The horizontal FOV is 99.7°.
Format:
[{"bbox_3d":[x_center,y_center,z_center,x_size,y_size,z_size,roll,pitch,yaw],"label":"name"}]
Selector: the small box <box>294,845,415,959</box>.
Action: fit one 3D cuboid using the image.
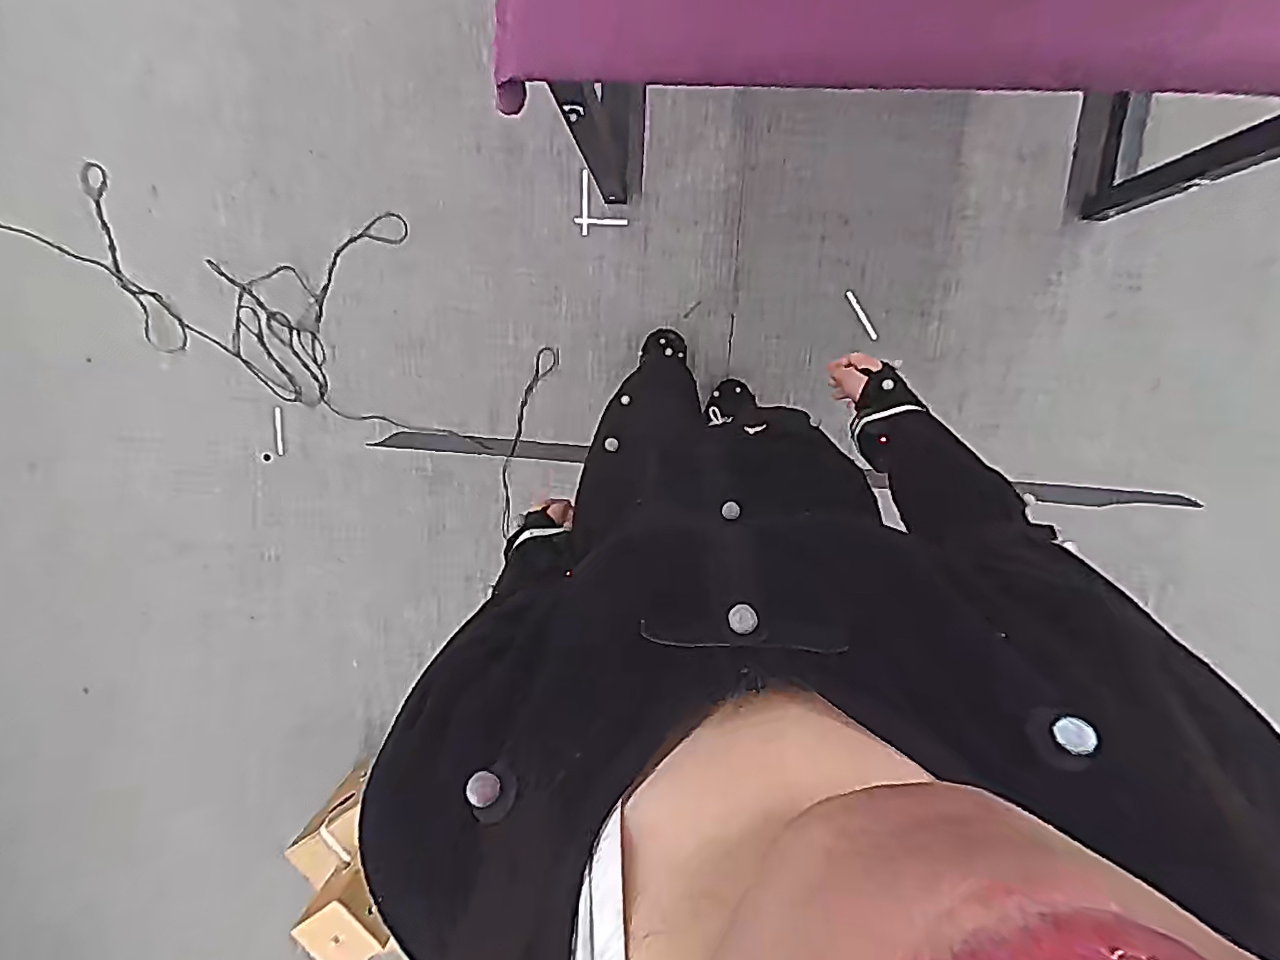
[{"bbox_3d":[-0.721,1.096,1.388,0.168,0.176,0.179,-38,95,9],"label":"small box"}]
